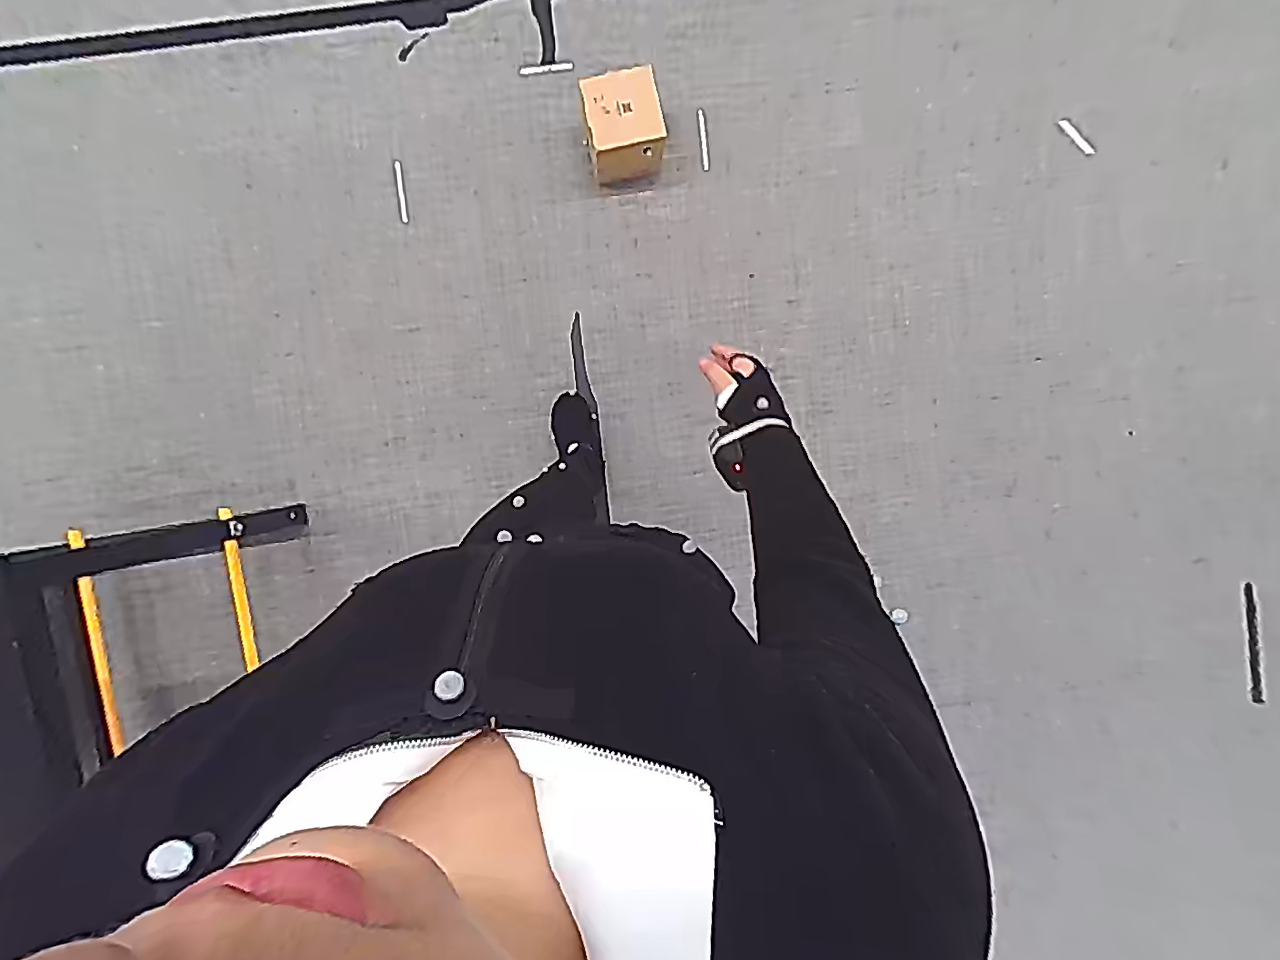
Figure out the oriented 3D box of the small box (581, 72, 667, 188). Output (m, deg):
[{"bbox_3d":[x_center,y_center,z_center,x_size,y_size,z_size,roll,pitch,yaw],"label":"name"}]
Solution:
[{"bbox_3d":[-0.042,-0.858,1.342,0.179,0.176,0.168,-14,94,-2],"label":"small box"}]
